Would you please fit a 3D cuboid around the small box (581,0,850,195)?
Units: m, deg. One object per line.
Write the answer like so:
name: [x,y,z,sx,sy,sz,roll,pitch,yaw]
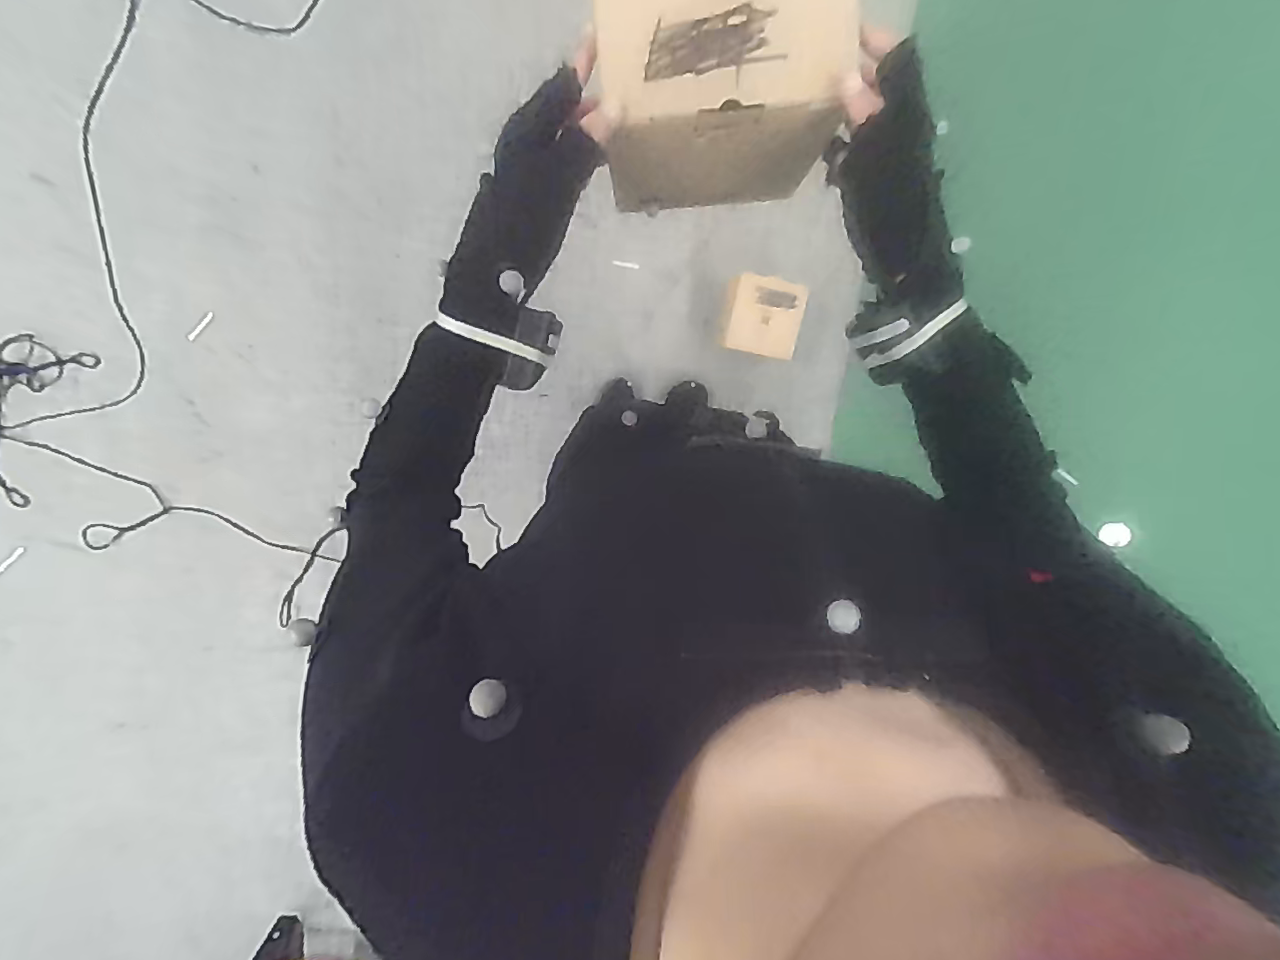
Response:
small box: [0.046,-0.334,0.405,0.168,0.176,0.179,-4,97,1]
